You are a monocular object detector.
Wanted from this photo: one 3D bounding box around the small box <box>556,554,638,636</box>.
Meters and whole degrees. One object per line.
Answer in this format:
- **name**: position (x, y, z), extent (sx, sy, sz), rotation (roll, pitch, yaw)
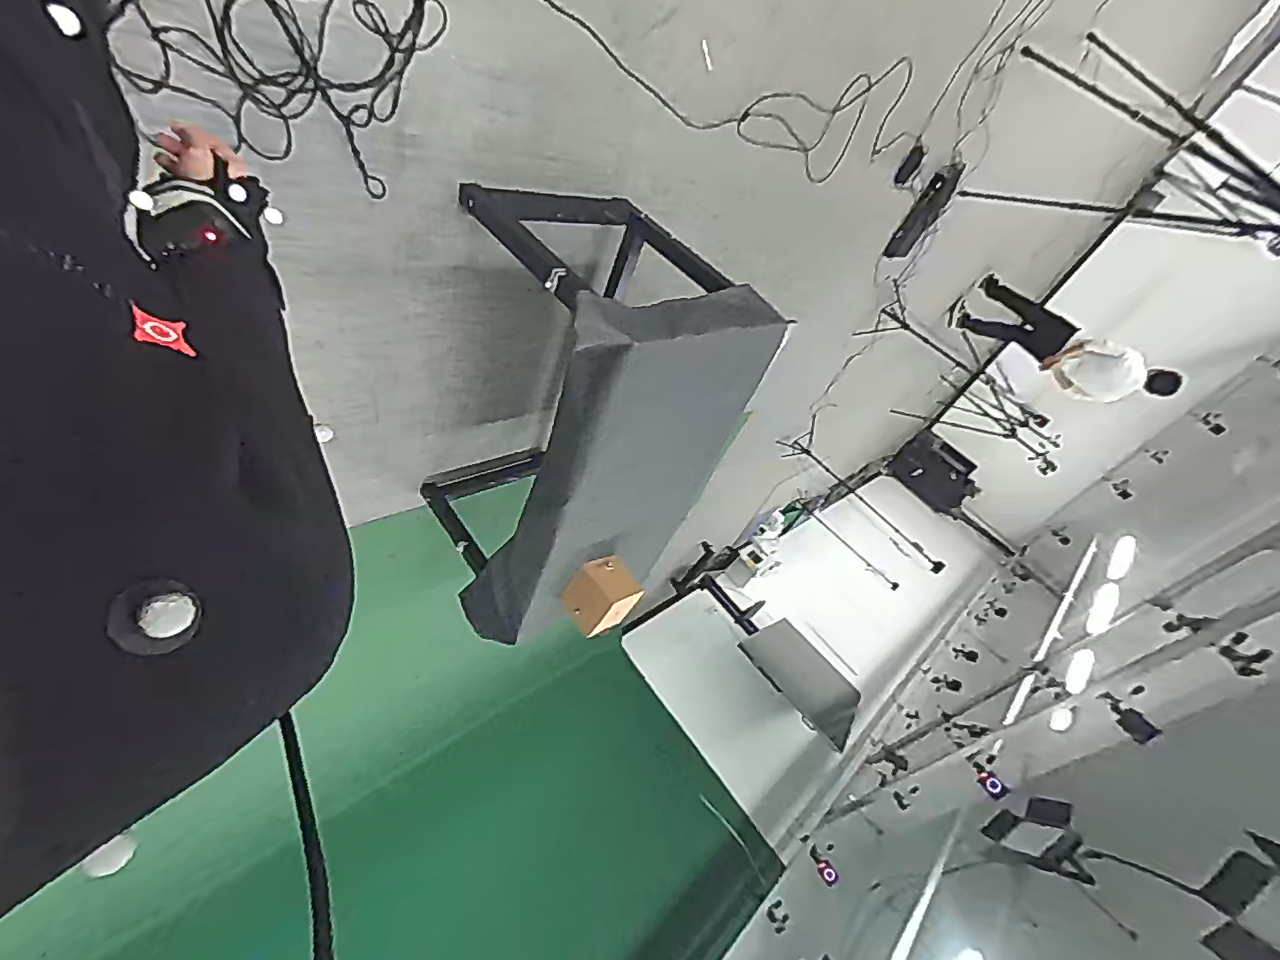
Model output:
- **small box**: position (-0.146, 0.369, 1.757), extent (0.168, 0.176, 0.179), rotation (-10, 140, -54)
